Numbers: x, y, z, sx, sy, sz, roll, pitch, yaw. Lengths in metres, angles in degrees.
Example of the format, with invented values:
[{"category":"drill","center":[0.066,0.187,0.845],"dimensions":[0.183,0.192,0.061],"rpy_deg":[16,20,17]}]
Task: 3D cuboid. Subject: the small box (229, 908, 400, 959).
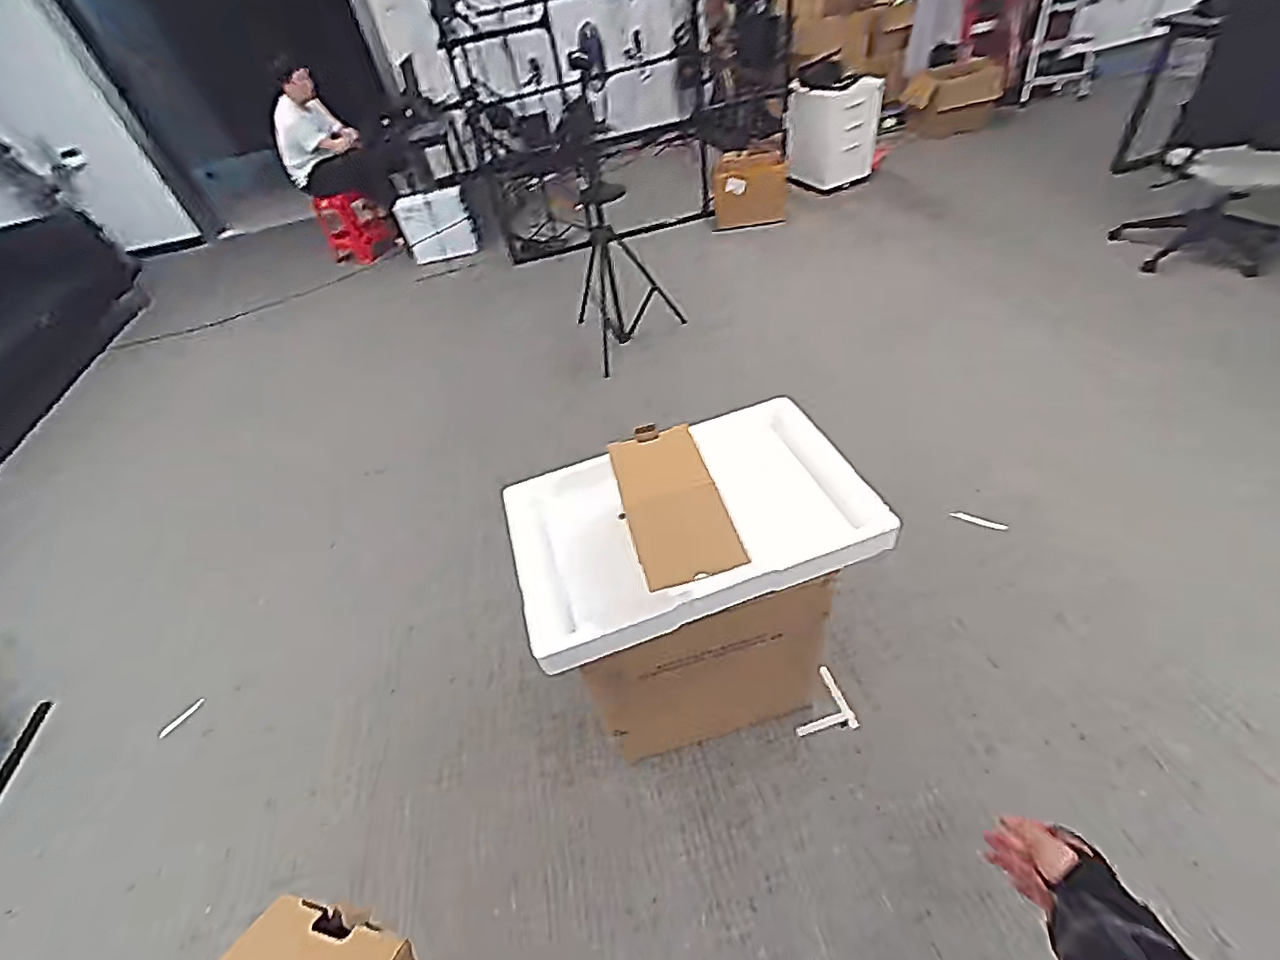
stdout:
[{"category":"small box","center":[-0.315,0.543,0.476],"dimensions":[0.168,0.176,0.179],"rpy_deg":[1,16,19]}]
